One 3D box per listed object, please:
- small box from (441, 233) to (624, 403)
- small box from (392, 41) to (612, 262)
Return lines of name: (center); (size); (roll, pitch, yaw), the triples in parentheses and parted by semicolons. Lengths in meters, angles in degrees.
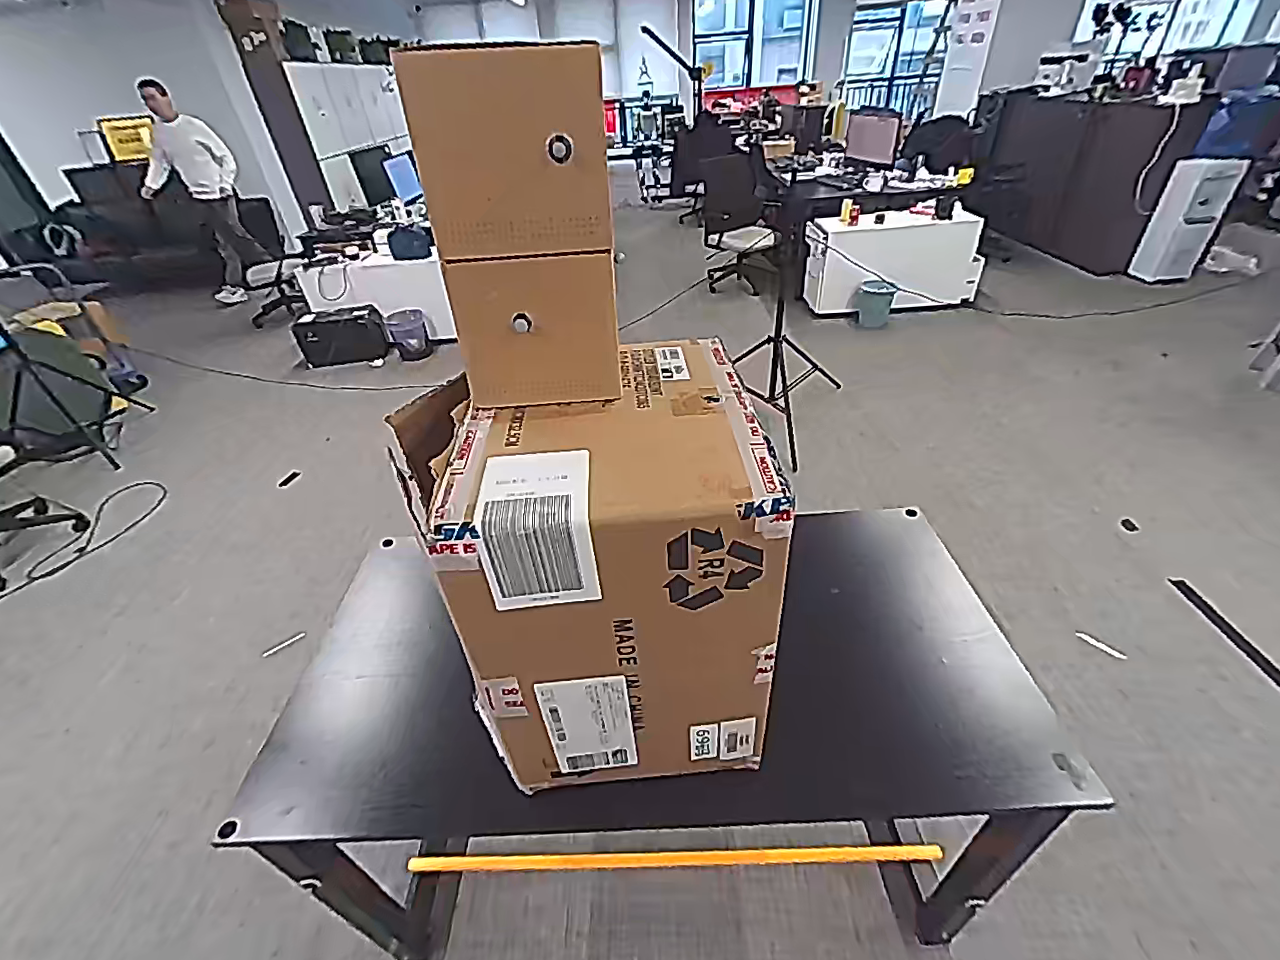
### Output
small box: (-0.115, -0.201, 0.653); (0.179, 0.176, 0.168); (-5, 35, -2)
small box: (-0.122, -0.333, 0.557); (0.179, 0.176, 0.168); (-6, 34, -4)
